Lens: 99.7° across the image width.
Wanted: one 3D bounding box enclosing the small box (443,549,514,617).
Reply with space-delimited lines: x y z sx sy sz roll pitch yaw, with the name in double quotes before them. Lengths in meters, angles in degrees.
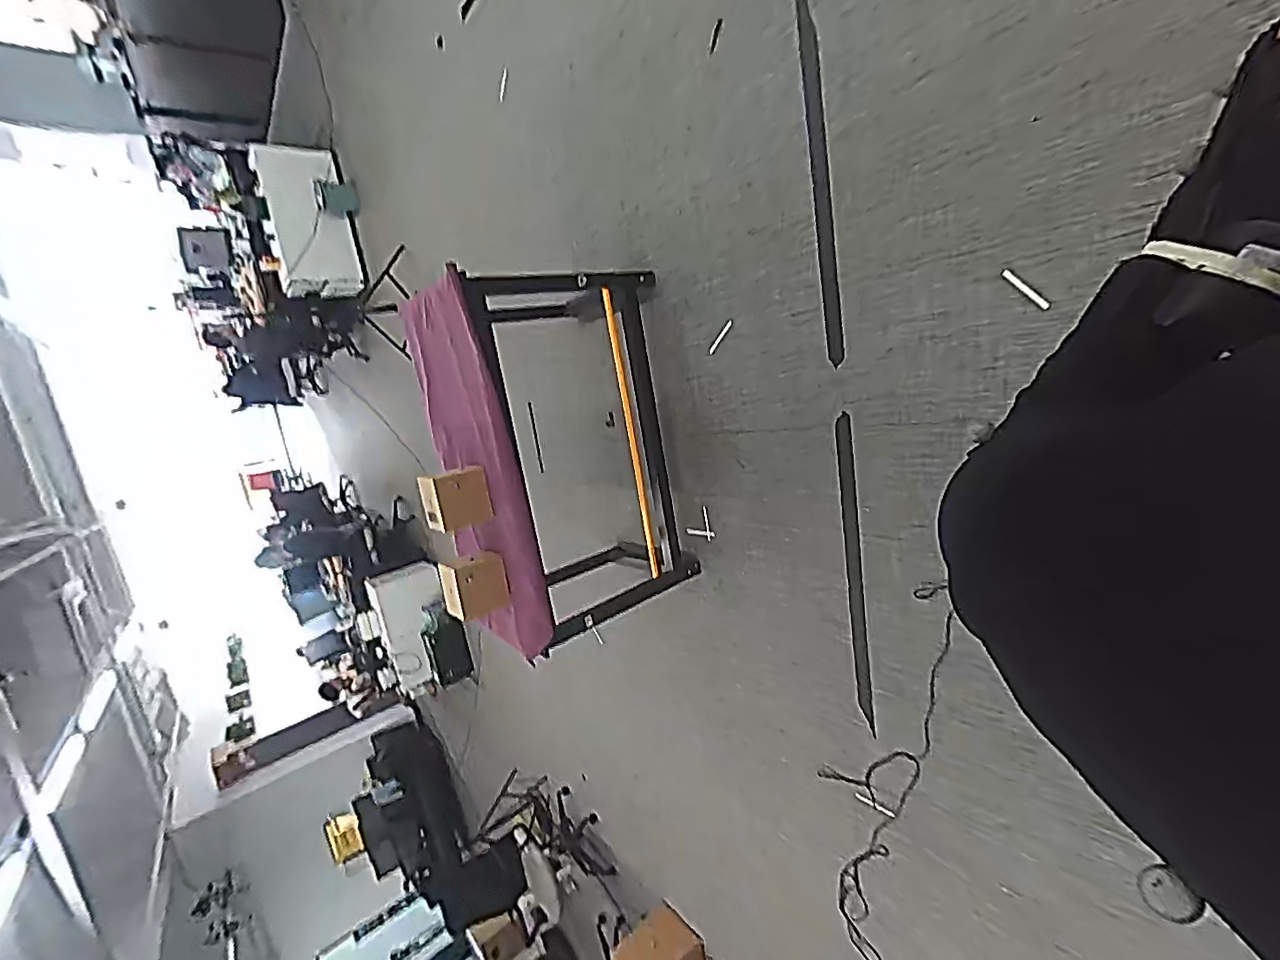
"small box" -0.548 0.342 1.839 0.168 0.176 0.179 0 101 53
